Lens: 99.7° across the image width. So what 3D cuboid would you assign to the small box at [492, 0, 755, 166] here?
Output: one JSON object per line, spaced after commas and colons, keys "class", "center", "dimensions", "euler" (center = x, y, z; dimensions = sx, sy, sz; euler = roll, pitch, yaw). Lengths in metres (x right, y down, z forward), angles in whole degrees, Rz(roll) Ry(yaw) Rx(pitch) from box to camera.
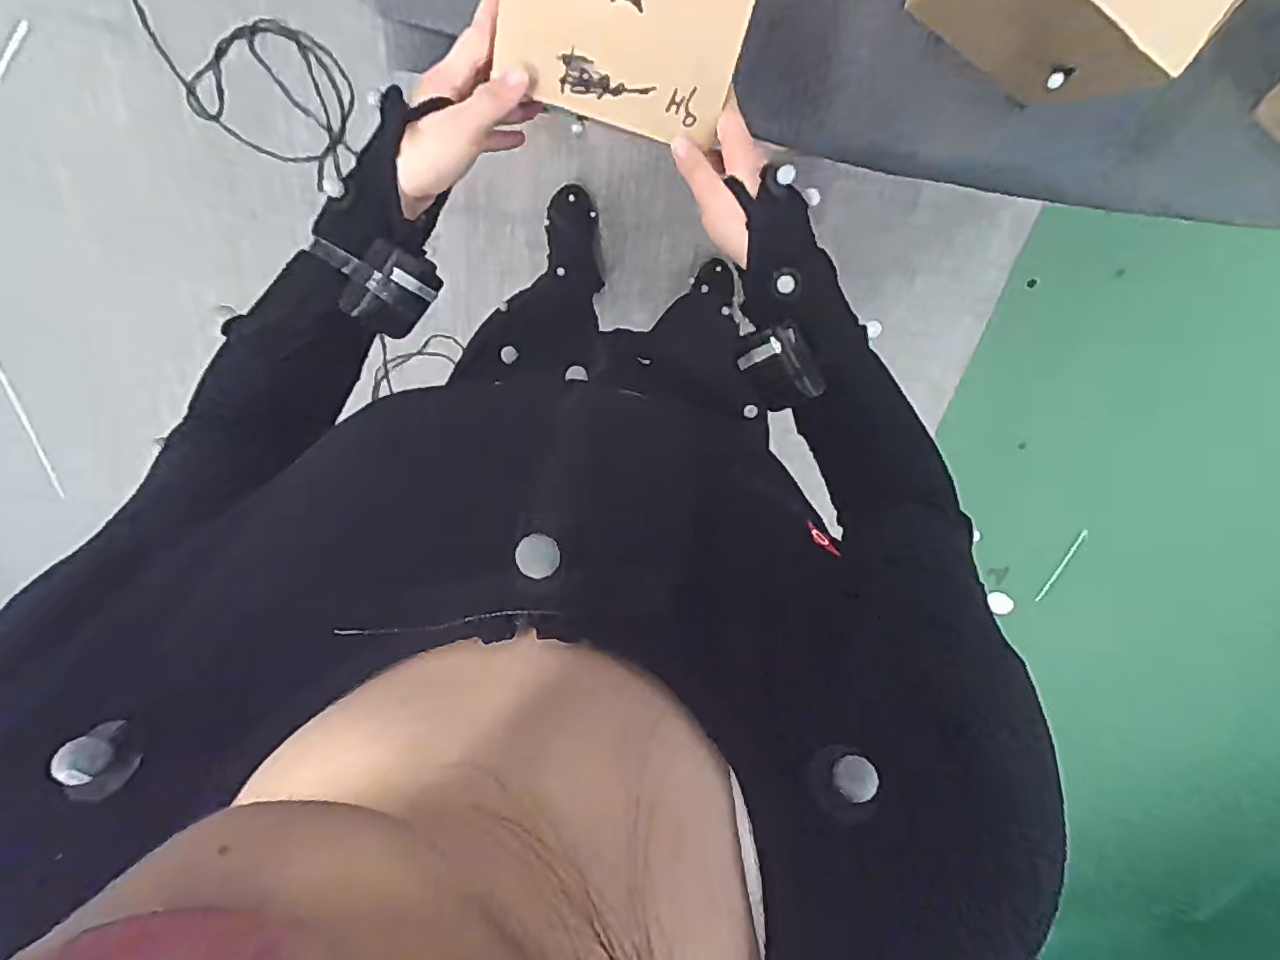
{"class": "small box", "center": [-0.013, -0.373, 0.424], "dimensions": [0.168, 0.176, 0.179], "euler": [11, 122, -14]}
